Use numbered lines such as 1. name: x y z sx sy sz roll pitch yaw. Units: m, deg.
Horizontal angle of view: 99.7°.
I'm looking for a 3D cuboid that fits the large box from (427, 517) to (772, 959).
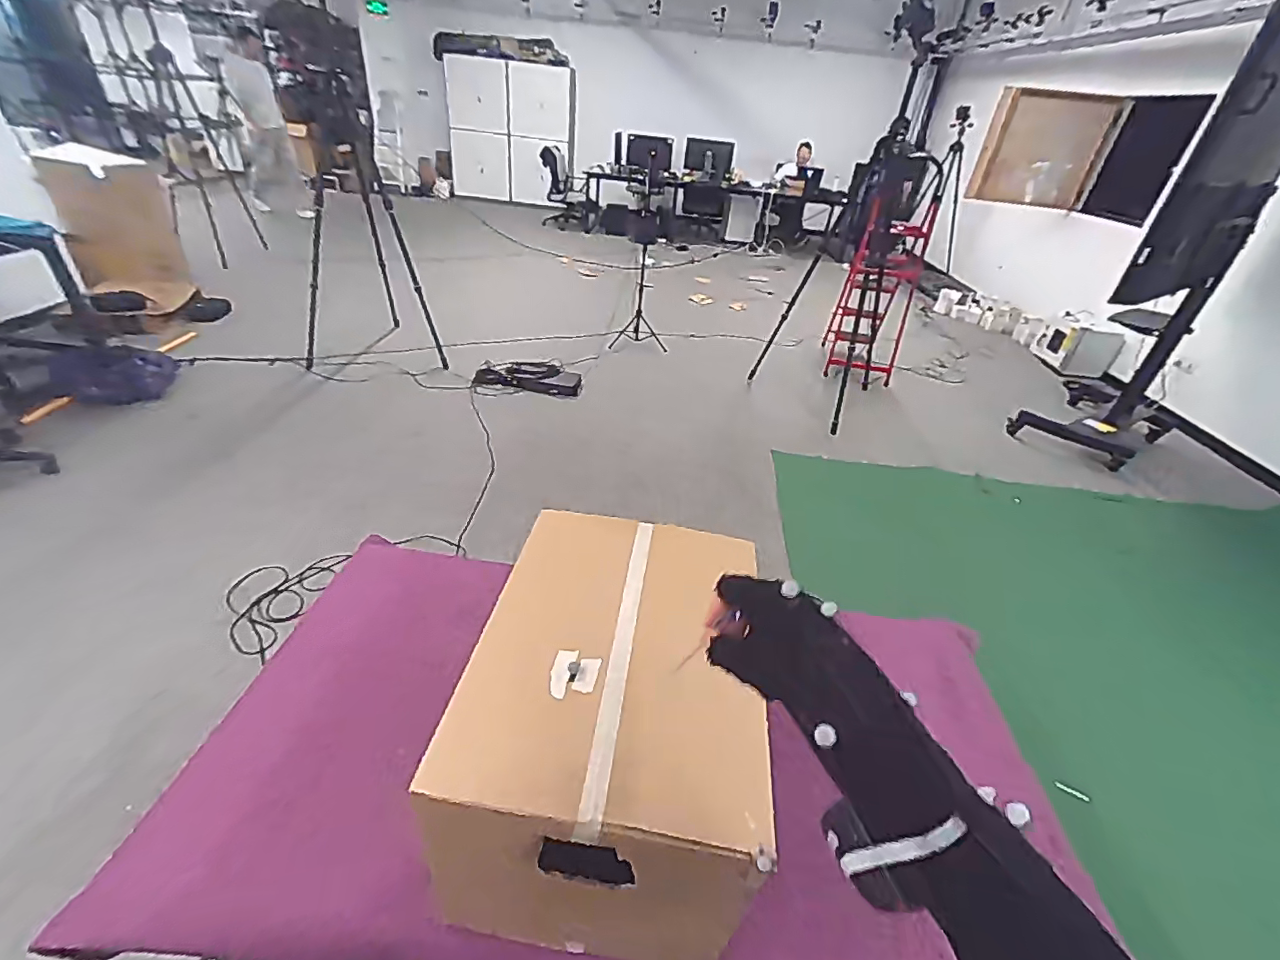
1. large box: -0.032 0.309 0.709 0.320 0.320 0.408 9 35 3
